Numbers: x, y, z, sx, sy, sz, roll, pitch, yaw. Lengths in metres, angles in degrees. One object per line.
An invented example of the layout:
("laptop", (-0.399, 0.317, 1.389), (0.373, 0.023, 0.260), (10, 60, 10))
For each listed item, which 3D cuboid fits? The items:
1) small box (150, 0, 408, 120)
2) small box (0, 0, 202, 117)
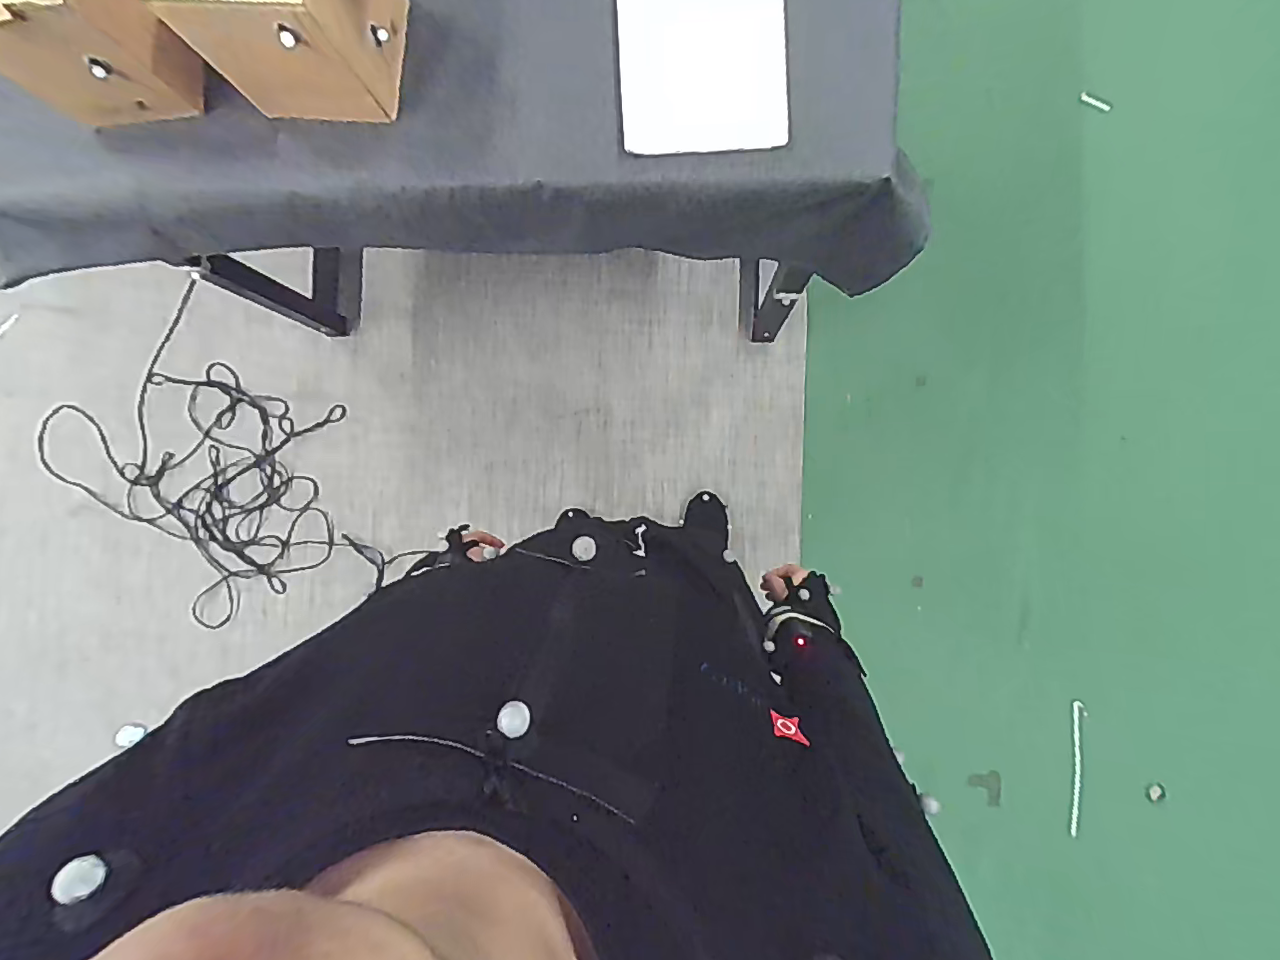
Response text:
("small box", (-0.391, -0.540, 0.605), (0.179, 0.176, 0.168), (5, 88, 4))
("small box", (-0.649, -0.554, 0.623), (0.168, 0.176, 0.179), (-4, 87, 3))
